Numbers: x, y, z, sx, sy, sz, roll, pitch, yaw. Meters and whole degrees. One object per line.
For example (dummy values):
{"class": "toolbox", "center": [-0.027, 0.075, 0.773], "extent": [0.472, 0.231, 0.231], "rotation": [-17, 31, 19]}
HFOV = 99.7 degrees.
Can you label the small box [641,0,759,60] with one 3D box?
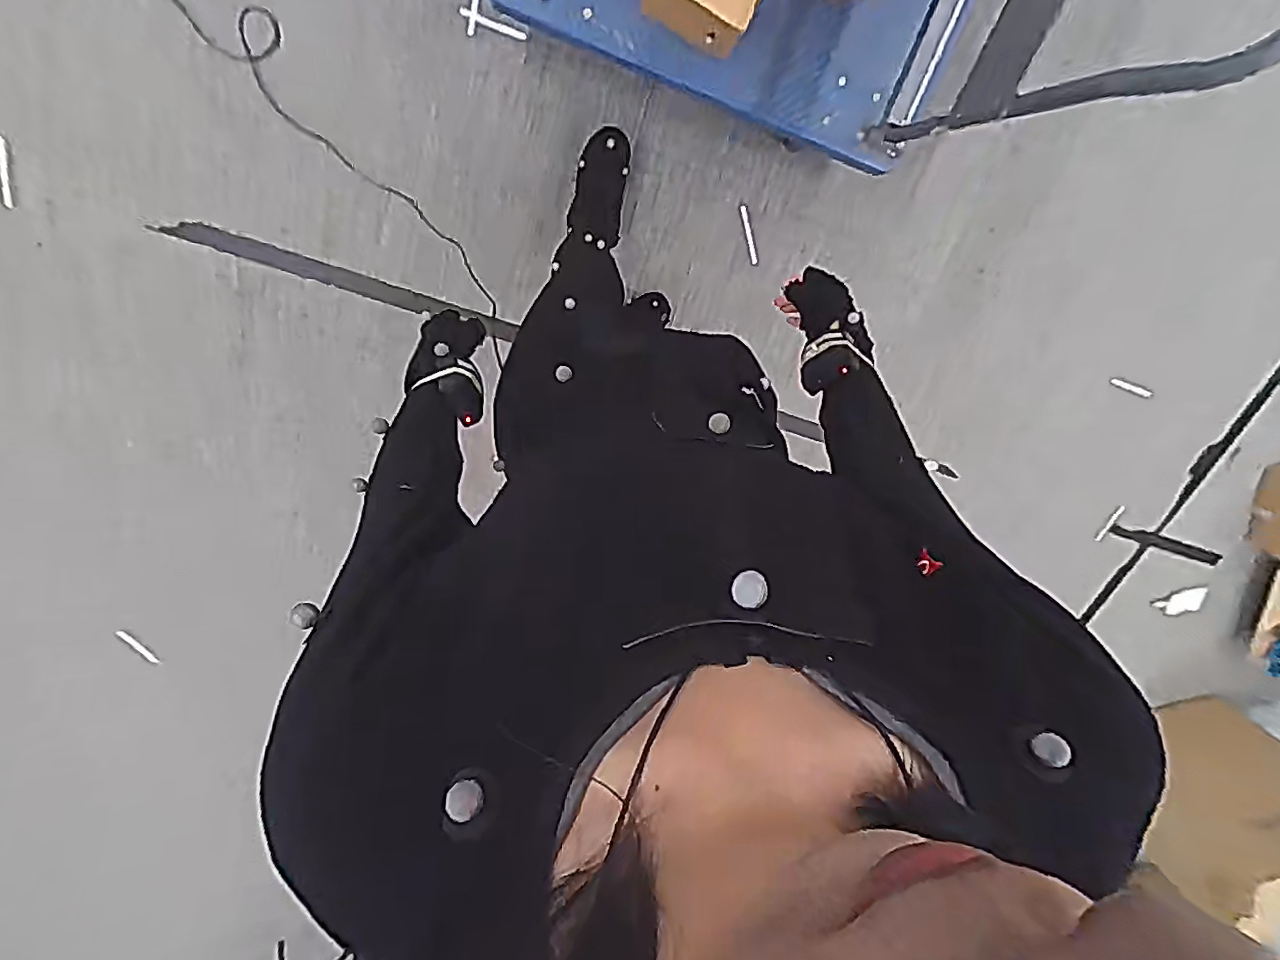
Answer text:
{"class": "small box", "center": [0.115, -0.854, 0.912], "extent": [0.179, 0.176, 0.168], "rotation": [21, 110, -14]}
